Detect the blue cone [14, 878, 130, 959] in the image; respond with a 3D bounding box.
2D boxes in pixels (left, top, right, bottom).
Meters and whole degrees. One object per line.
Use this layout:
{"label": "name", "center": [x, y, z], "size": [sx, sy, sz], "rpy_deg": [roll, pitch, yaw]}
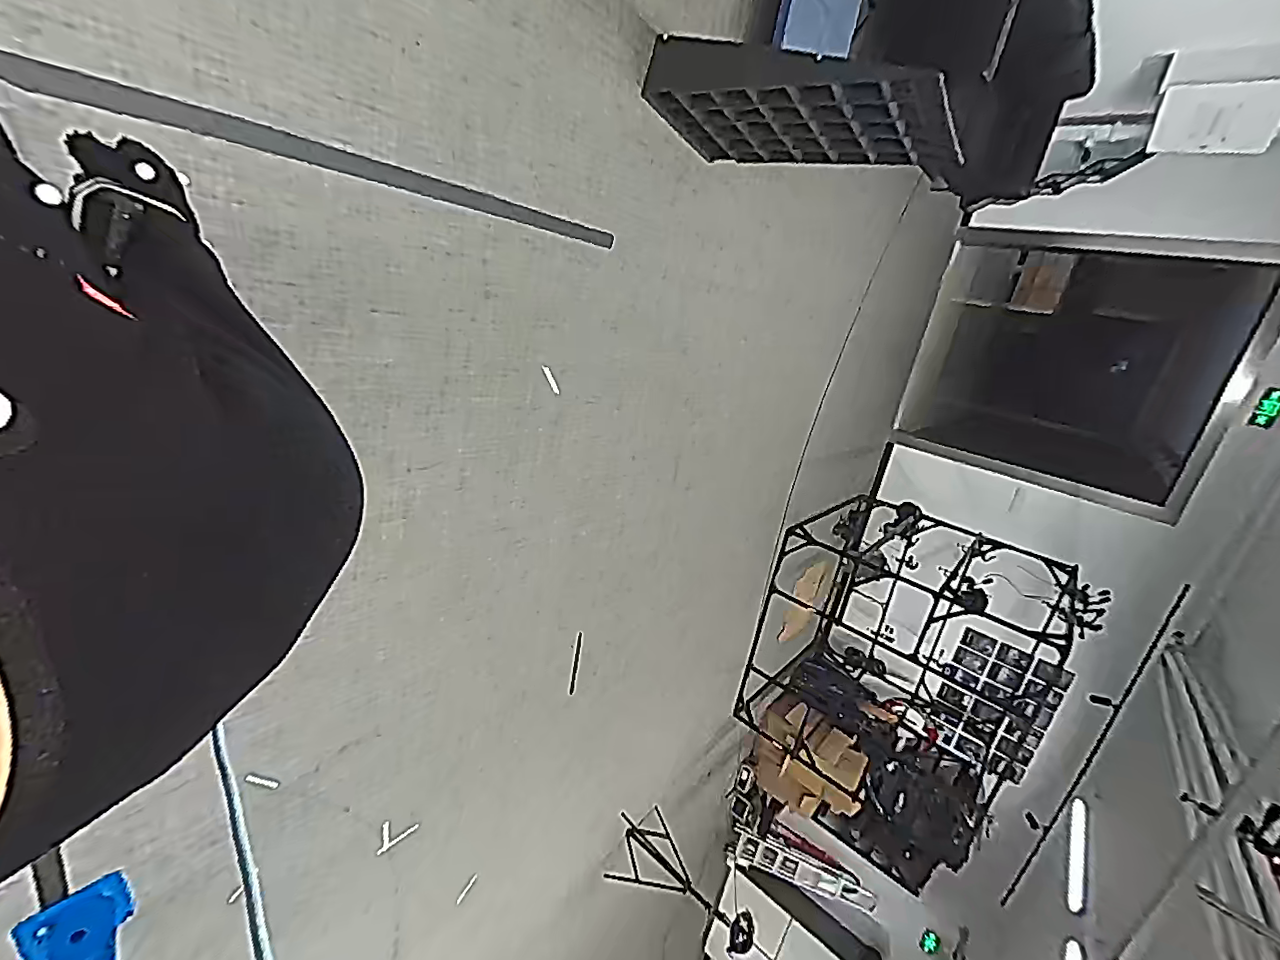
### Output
{"label": "blue cone", "center": [-1.322, 1.196, 1.295], "size": [0.192, 0.380, 0.193], "rpy_deg": [-17, 124, -50]}
